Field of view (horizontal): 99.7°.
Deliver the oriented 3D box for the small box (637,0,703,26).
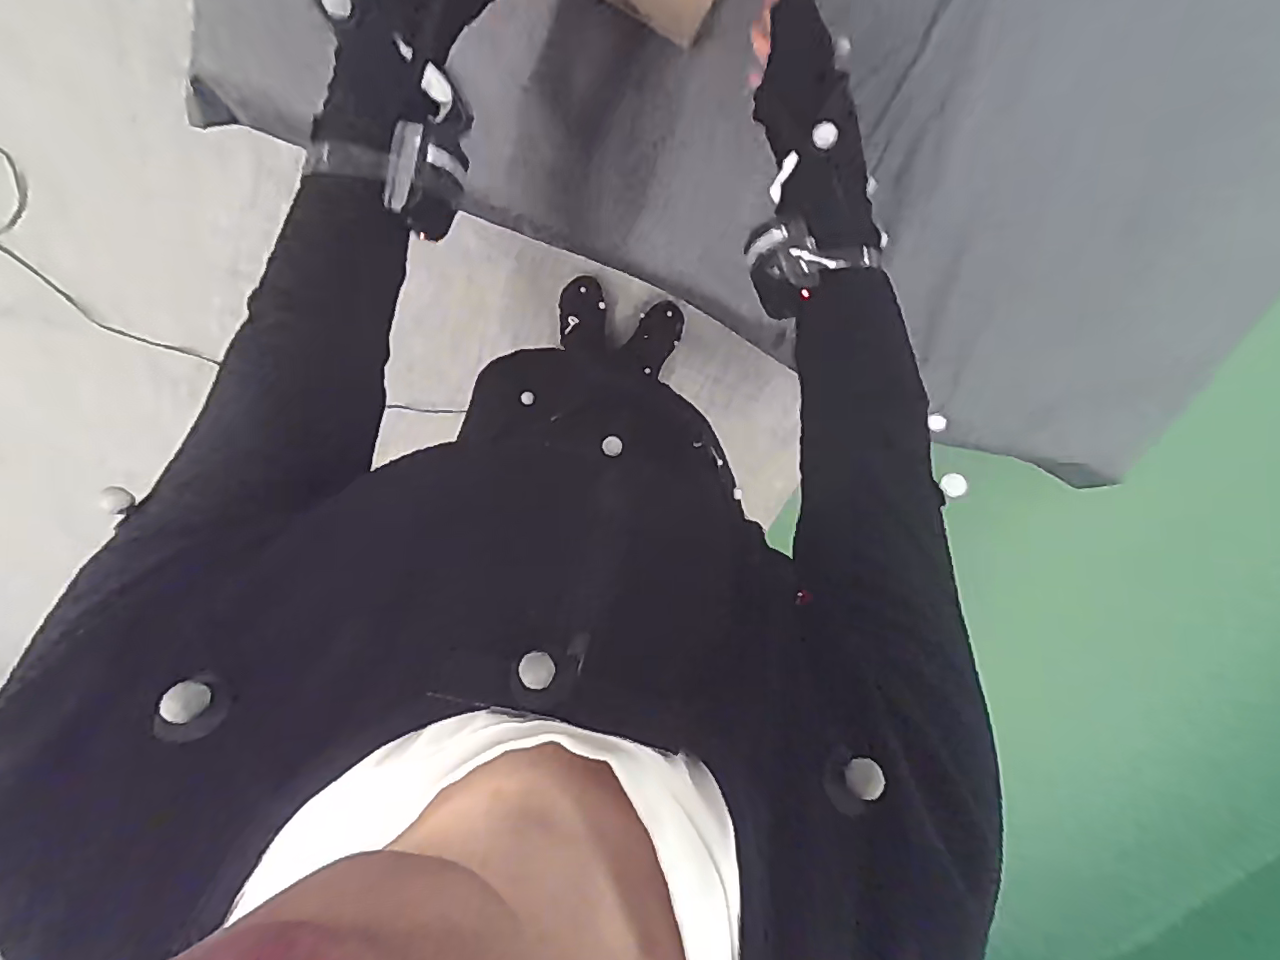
[{"bbox_3d":[0.013,-0.487,0.393,0.168,0.176,0.179,22,113,-14],"label":"small box"}]
